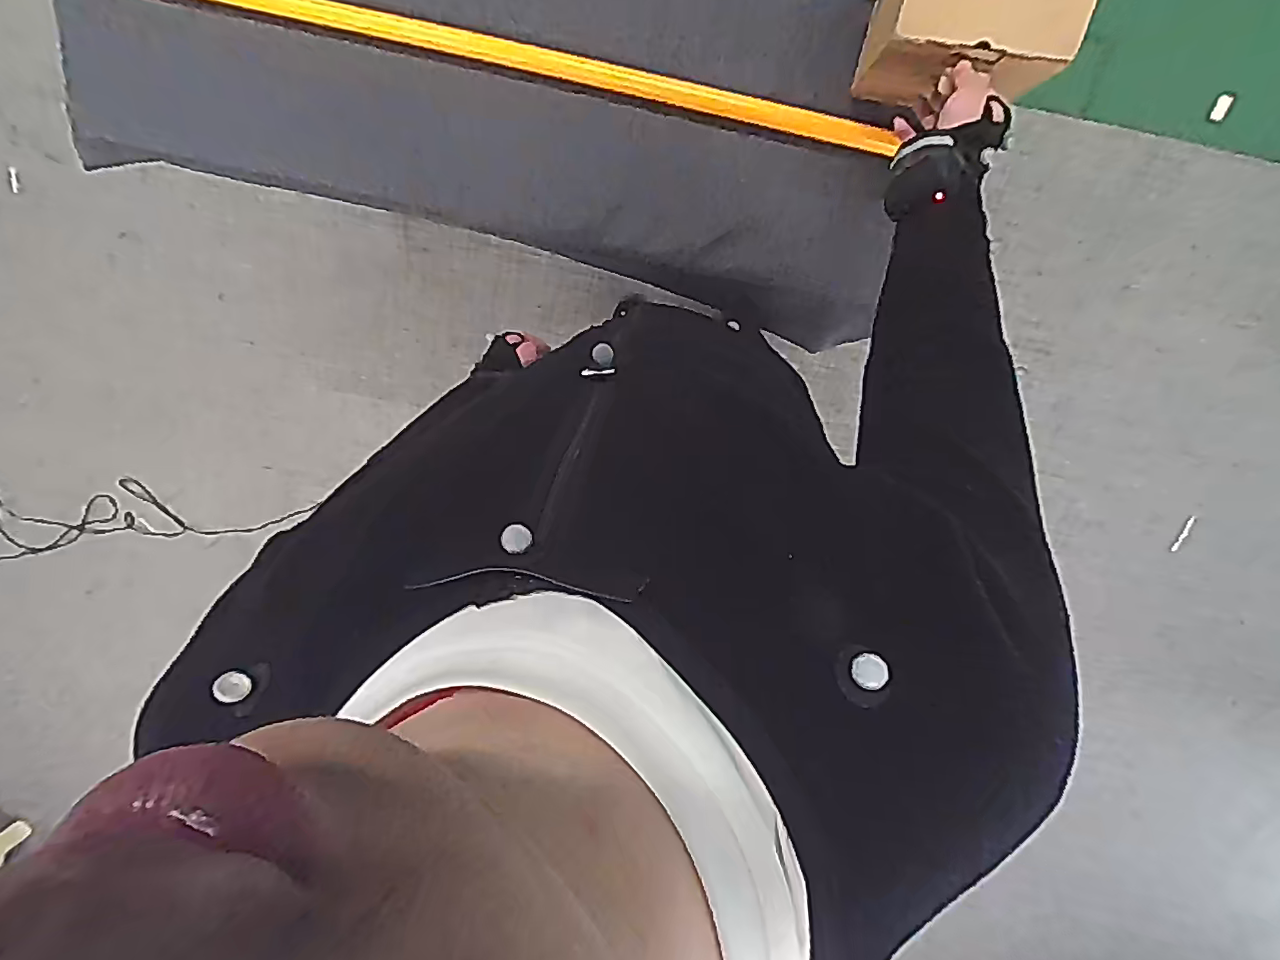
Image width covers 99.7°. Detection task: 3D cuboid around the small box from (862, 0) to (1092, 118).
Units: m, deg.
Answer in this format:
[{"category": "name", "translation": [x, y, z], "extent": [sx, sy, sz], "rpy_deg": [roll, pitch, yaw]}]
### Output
[{"category": "small box", "translation": [0.344, -0.500, 0.558], "extent": [0.168, 0.176, 0.179], "rpy_deg": [10, 109, 6]}]
